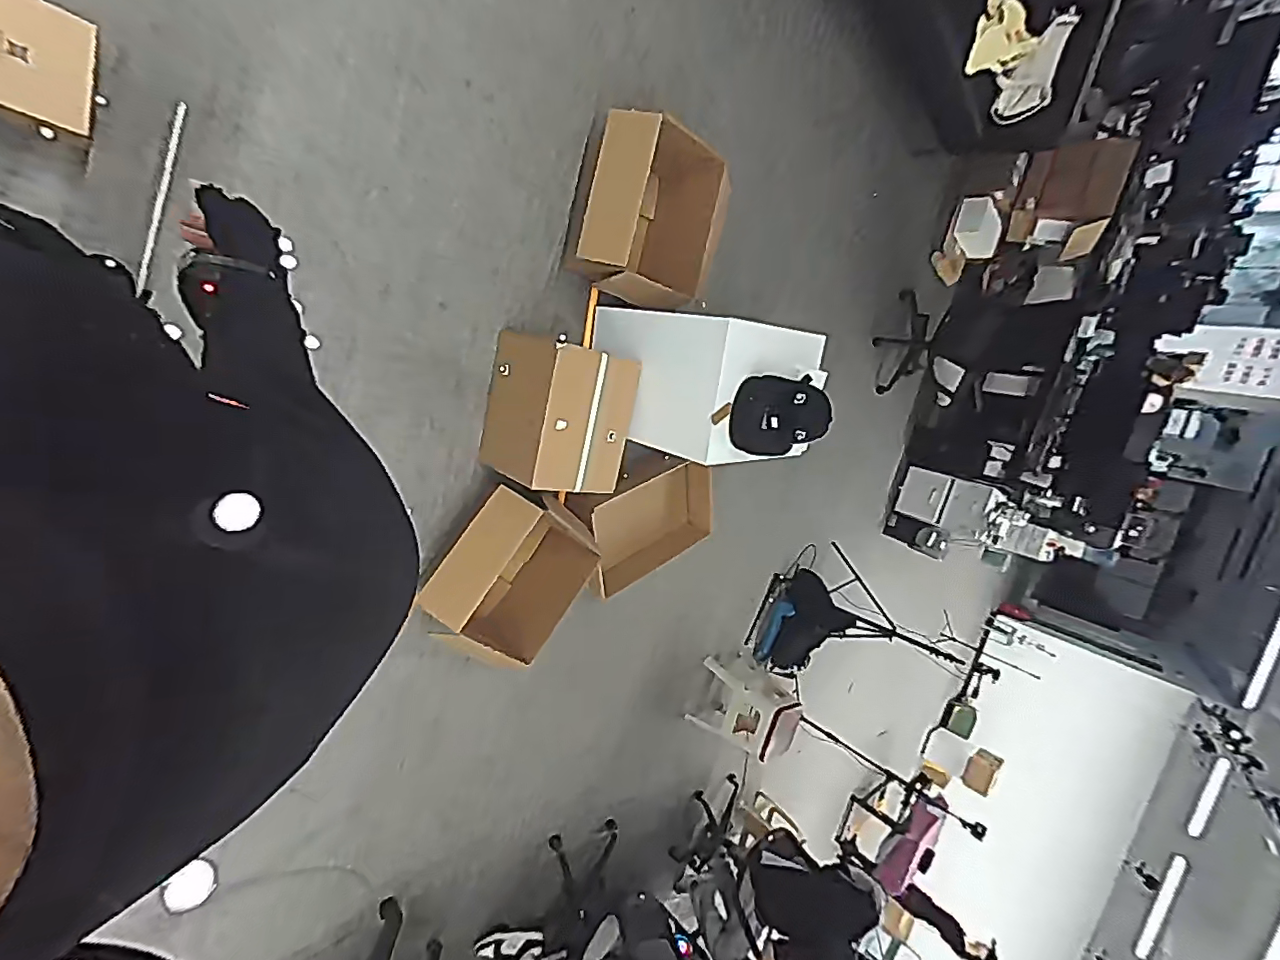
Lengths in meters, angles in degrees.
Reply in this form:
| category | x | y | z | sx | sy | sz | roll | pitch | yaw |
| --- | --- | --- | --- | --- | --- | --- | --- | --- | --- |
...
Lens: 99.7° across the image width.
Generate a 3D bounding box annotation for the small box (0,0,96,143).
| category | x | y | z | sx | sy | sz | roll | pitch | yaw |
| --- | --- | --- | --- | --- | --- | --- | --- | --- | --- |
| small box | -0.975 | -0.650 | 0.835 | 0.179 | 0.176 | 0.168 | 6 | 101 | -47 |
